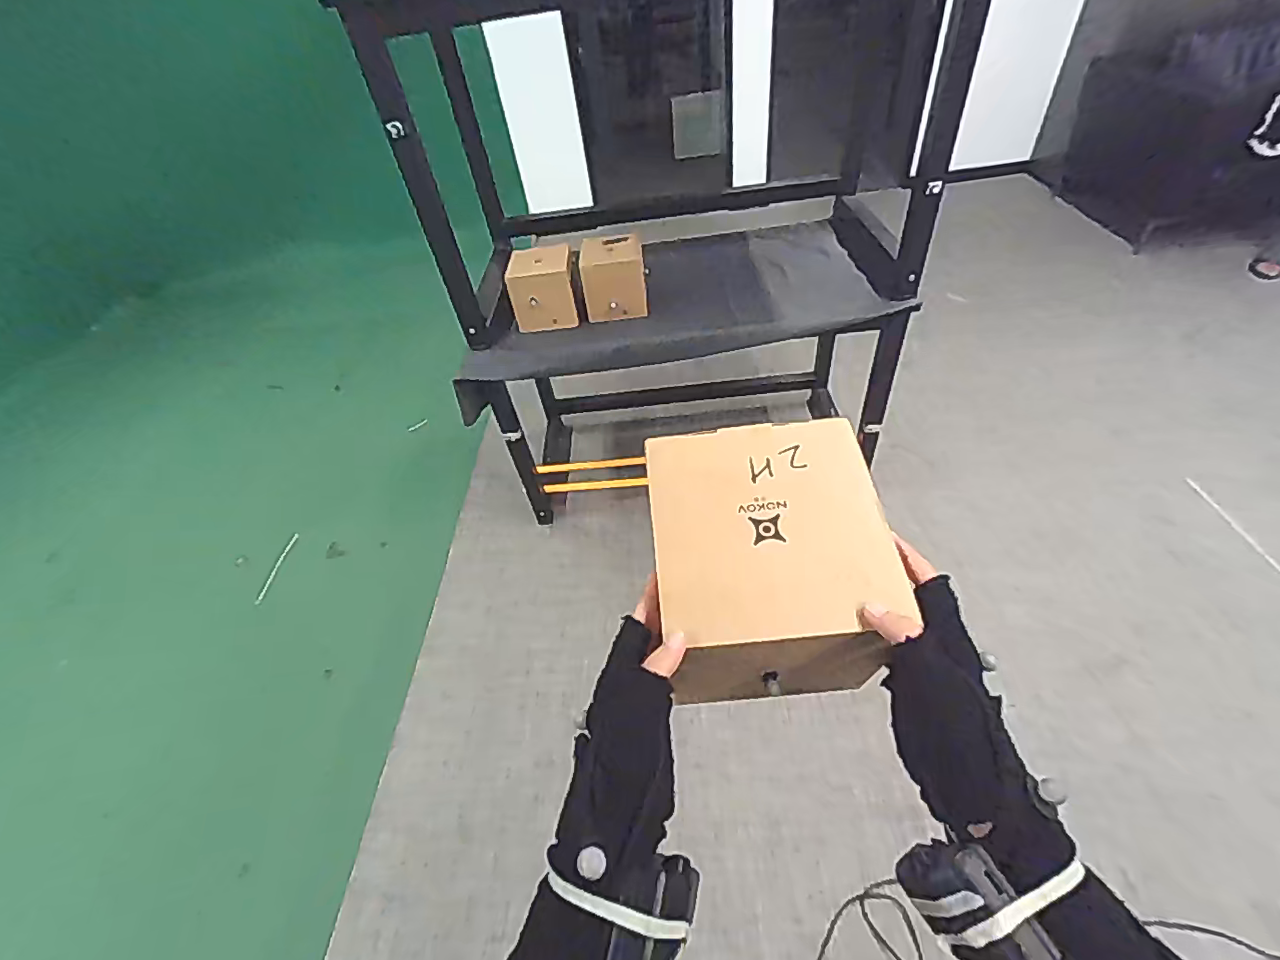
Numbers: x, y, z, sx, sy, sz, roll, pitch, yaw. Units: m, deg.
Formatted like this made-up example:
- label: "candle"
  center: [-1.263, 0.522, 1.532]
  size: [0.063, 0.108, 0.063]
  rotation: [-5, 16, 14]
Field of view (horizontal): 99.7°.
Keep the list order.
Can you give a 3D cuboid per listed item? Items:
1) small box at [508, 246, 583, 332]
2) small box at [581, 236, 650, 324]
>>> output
- label: "small box"
  center: [-0.258, -0.529, 1.517]
  size: [0.168, 0.176, 0.179]
  rotation: [-6, 44, 3]
- label: "small box"
  center: [-0.064, -0.558, 1.512]
  size: [0.168, 0.176, 0.179]
  rotation: [-6, 45, 5]
